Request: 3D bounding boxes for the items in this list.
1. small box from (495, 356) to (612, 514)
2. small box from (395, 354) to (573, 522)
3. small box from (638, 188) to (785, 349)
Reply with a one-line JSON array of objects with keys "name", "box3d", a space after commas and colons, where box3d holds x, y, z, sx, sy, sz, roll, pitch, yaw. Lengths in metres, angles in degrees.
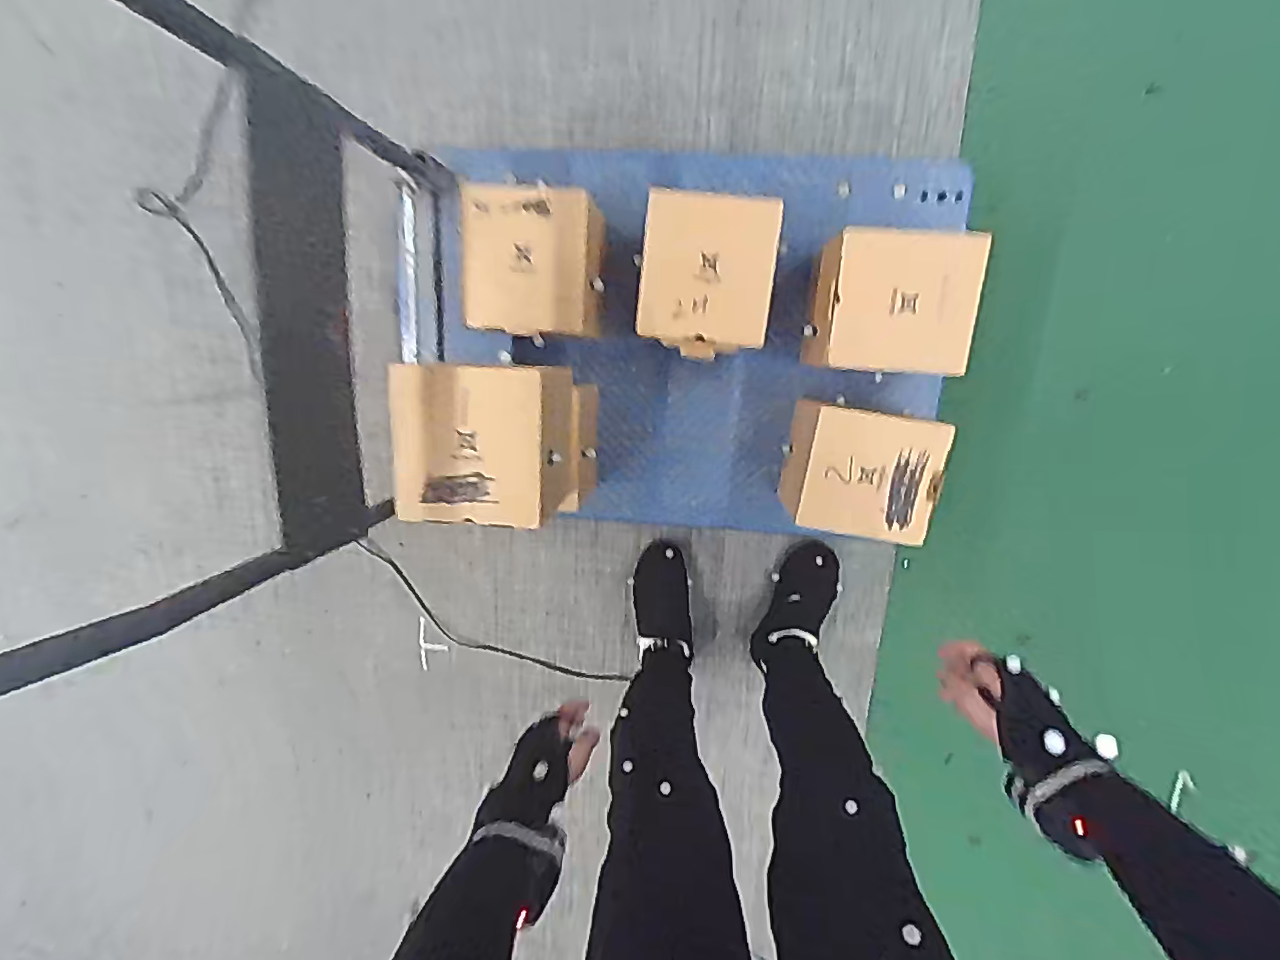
[{"name": "small box", "box3d": [-0.165, -0.074, 0.841, 0.179, 0.176, 0.168, 34, 105, -2]}, {"name": "small box", "box3d": [-0.180, -0.060, 0.668, 0.168, 0.176, 0.179, 4, 102, 3]}, {"name": "small box", "box3d": [0.095, -0.285, 0.763, 0.168, 0.176, 0.179, 8, 103, 4]}]
